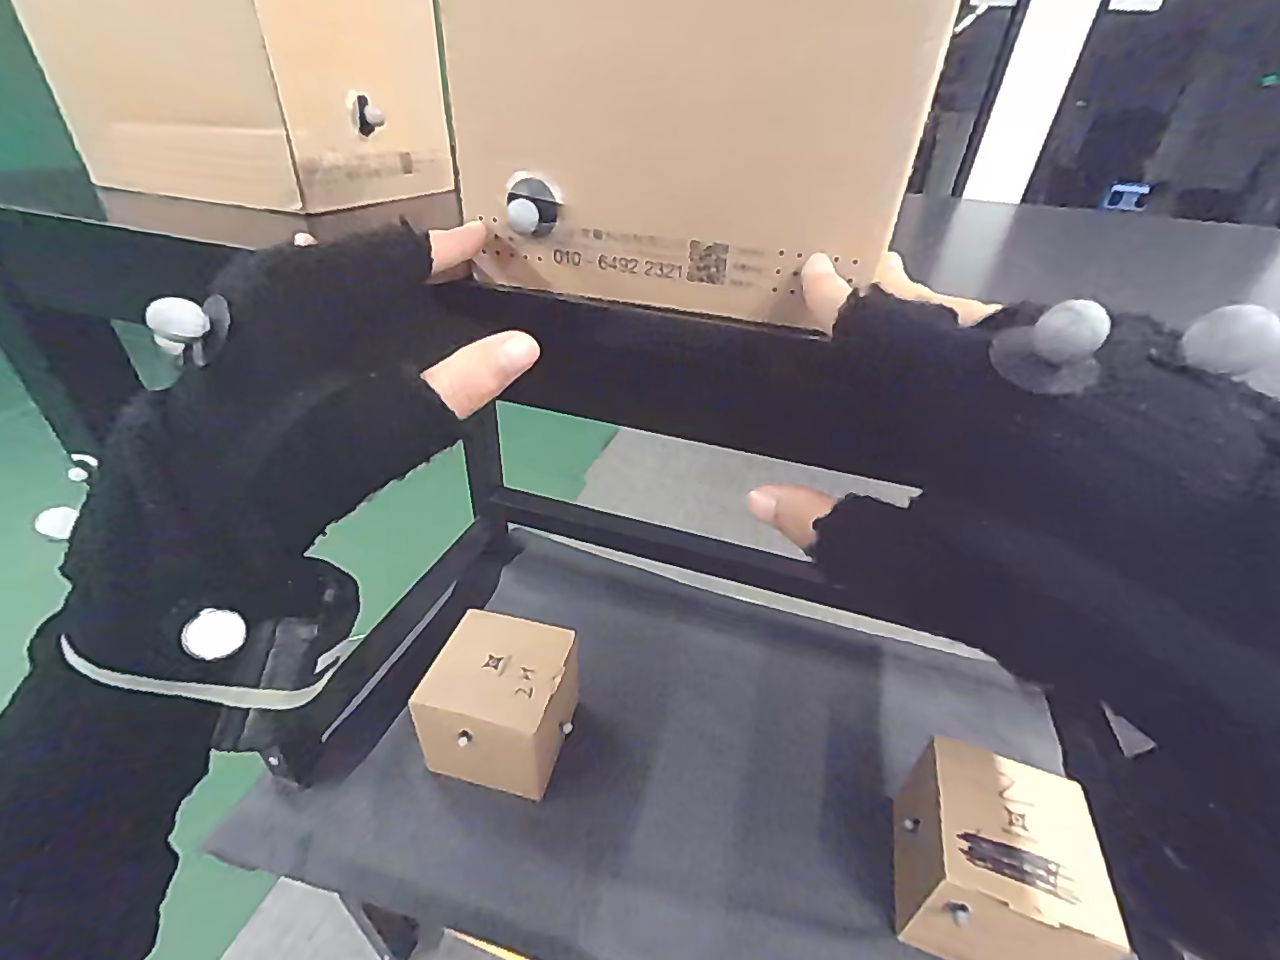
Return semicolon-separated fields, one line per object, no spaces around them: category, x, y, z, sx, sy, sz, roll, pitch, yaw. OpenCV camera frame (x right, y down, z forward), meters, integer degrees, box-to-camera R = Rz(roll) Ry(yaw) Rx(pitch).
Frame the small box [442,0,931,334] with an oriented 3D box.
small box;0.029;-0.178;0.247;0.168;0.176;0.179;13;35;12

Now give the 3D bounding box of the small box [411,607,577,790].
small box;-0.199;0.318;0.790;0.179;0.176;0.168;11;35;9
